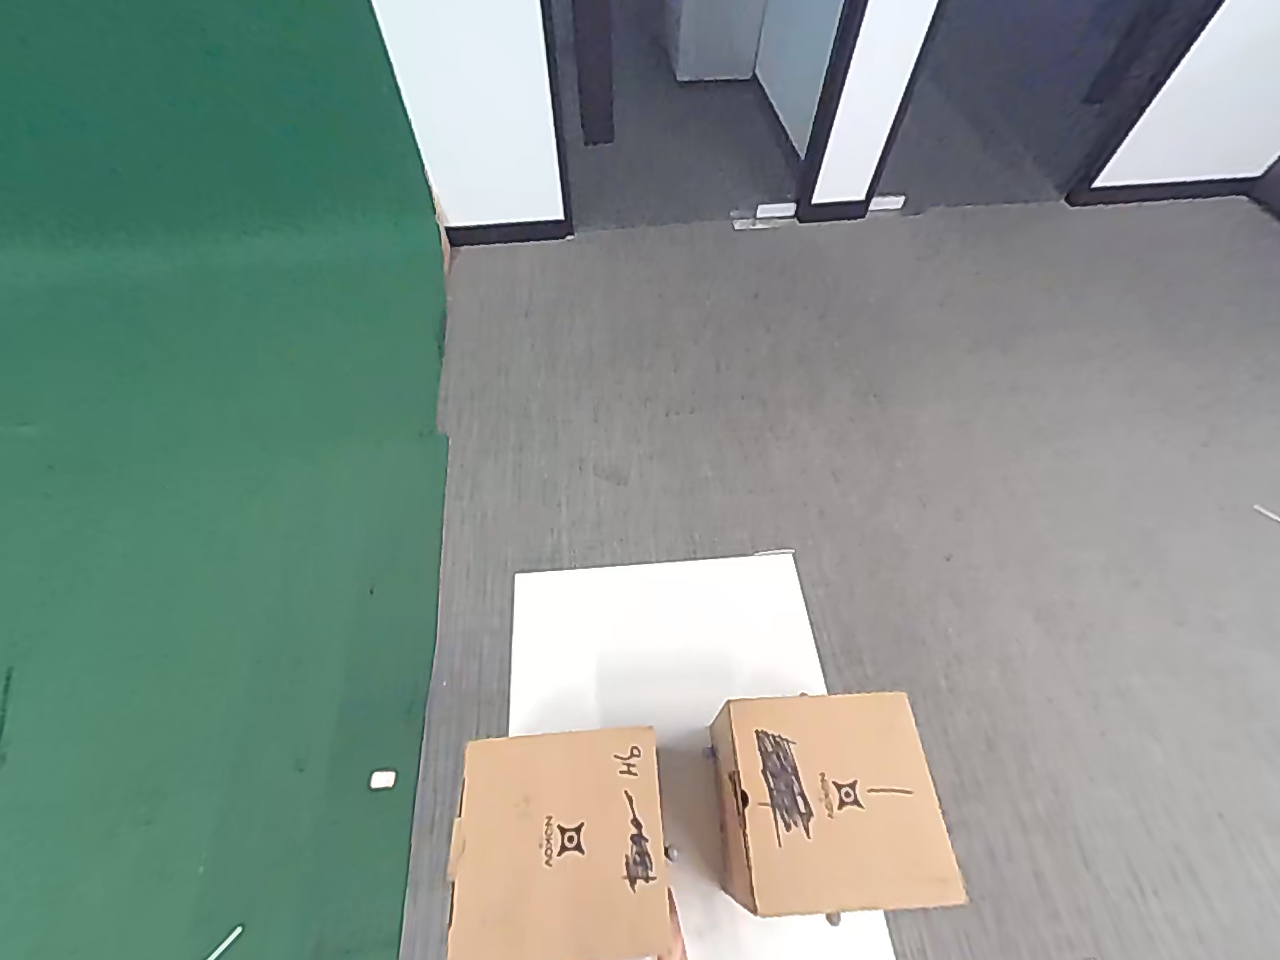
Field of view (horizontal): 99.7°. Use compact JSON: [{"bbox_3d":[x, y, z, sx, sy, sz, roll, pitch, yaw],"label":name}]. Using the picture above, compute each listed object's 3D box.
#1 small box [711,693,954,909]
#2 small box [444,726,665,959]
[{"bbox_3d":[0.170,0.323,0.551,0.179,0.176,0.168,-2,57,-2],"label":"small box"},{"bbox_3d":[-0.072,0.348,0.529,0.179,0.176,0.168,-2,58,-4],"label":"small box"}]
